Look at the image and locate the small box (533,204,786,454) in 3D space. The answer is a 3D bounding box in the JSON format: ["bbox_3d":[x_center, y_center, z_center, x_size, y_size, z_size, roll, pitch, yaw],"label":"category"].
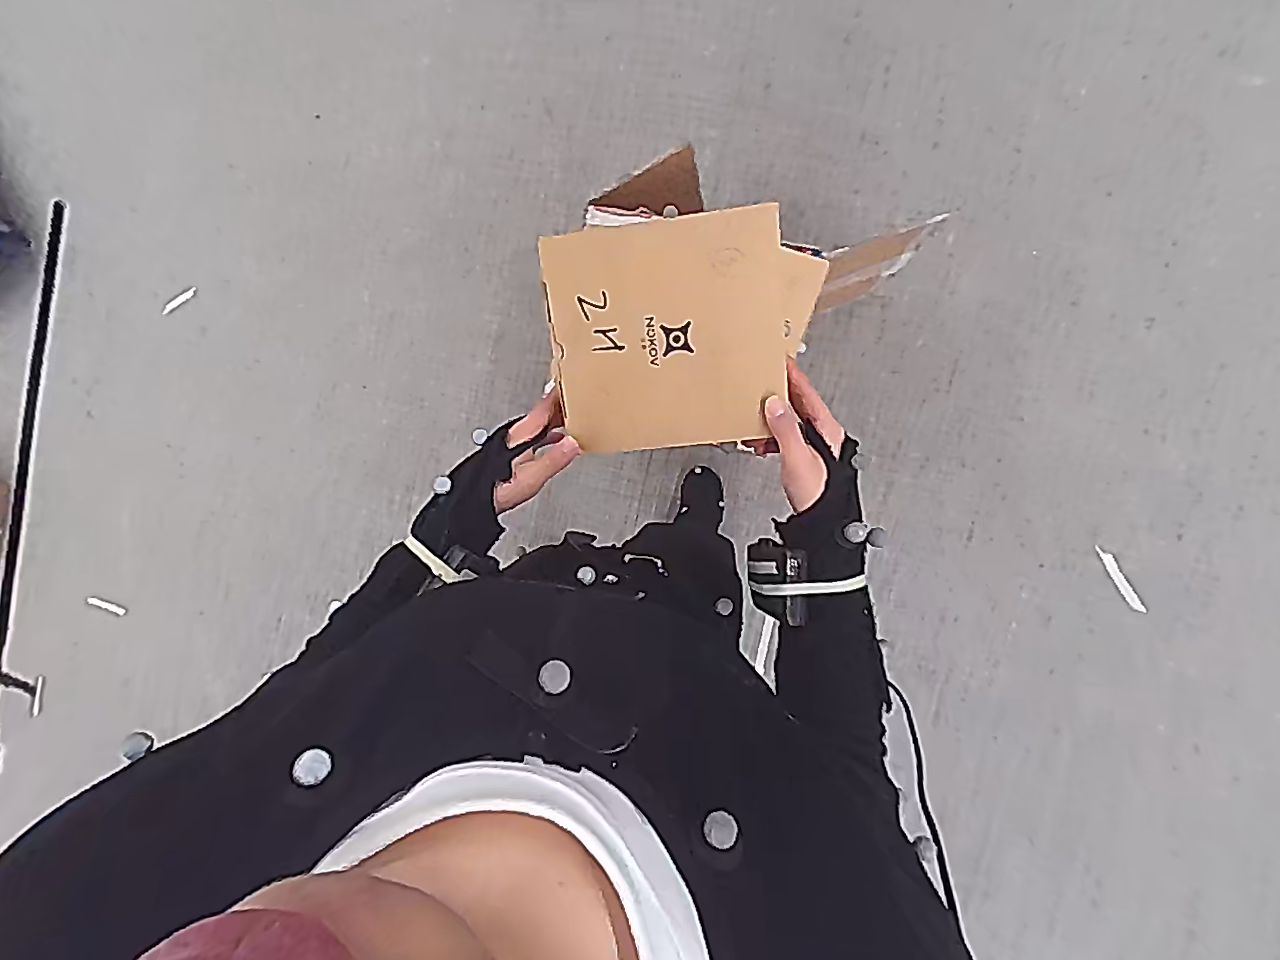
[{"bbox_3d":[0.025,-0.126,0.475,0.179,0.176,0.168,-5,104,9],"label":"small box"}]

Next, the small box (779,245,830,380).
[{"bbox_3d":[0.140,-0.228,0.760,0.179,0.176,0.168,21,98,7],"label":"small box"}]
